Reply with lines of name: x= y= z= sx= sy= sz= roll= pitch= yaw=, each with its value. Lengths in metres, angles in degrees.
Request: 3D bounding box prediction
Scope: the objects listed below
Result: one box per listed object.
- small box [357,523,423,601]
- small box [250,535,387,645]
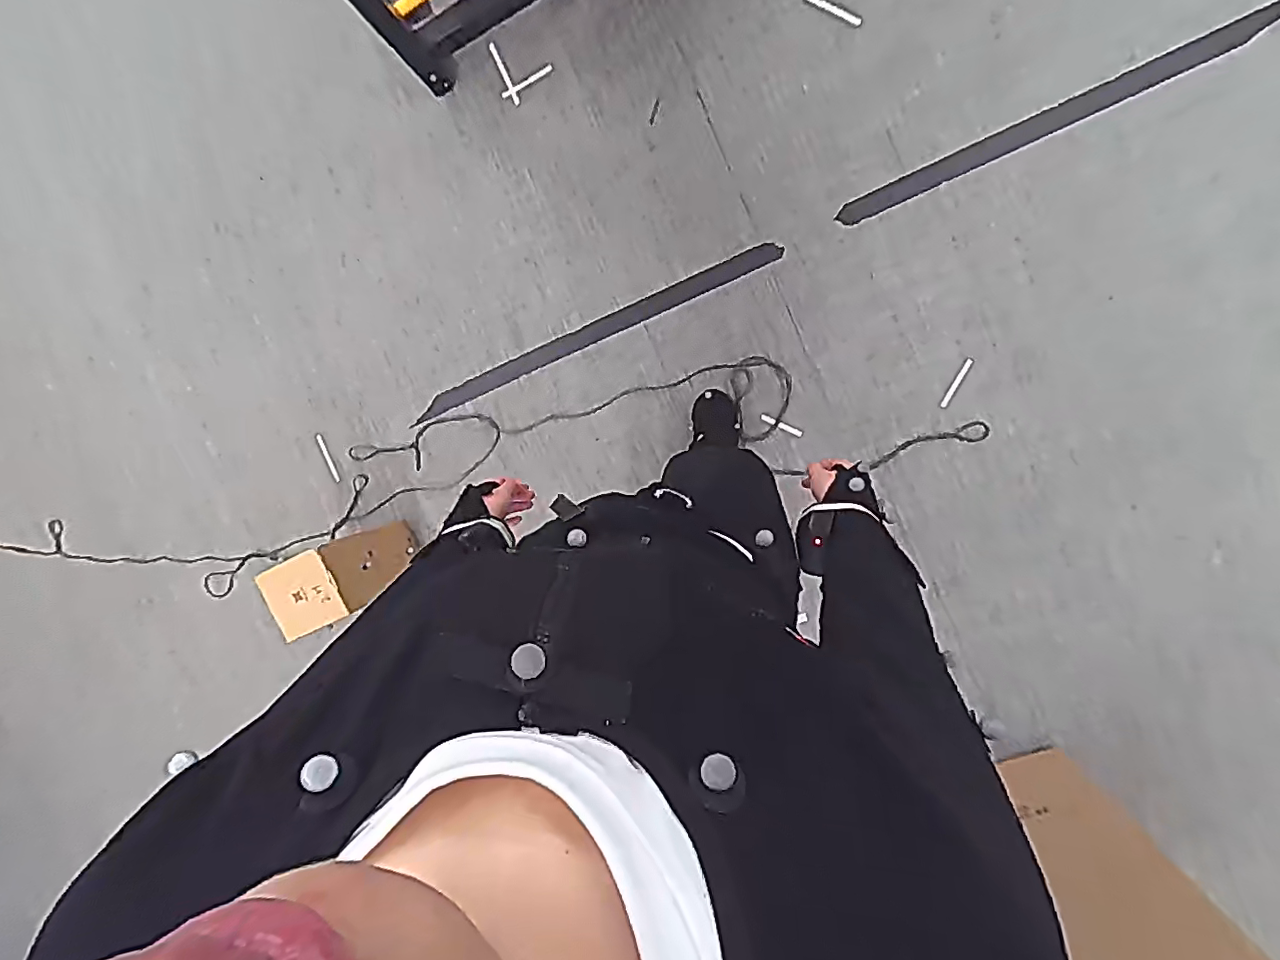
small box: x=-0.704 y=0.227 z=1.401 sx=0.179 sy=0.176 sz=0.168 roll=-23 pitch=93 yaw=9
small box: x=-0.726 y=0.245 z=1.239 sx=0.179 sy=0.176 sz=0.168 roll=-25 pitch=93 yaw=9
